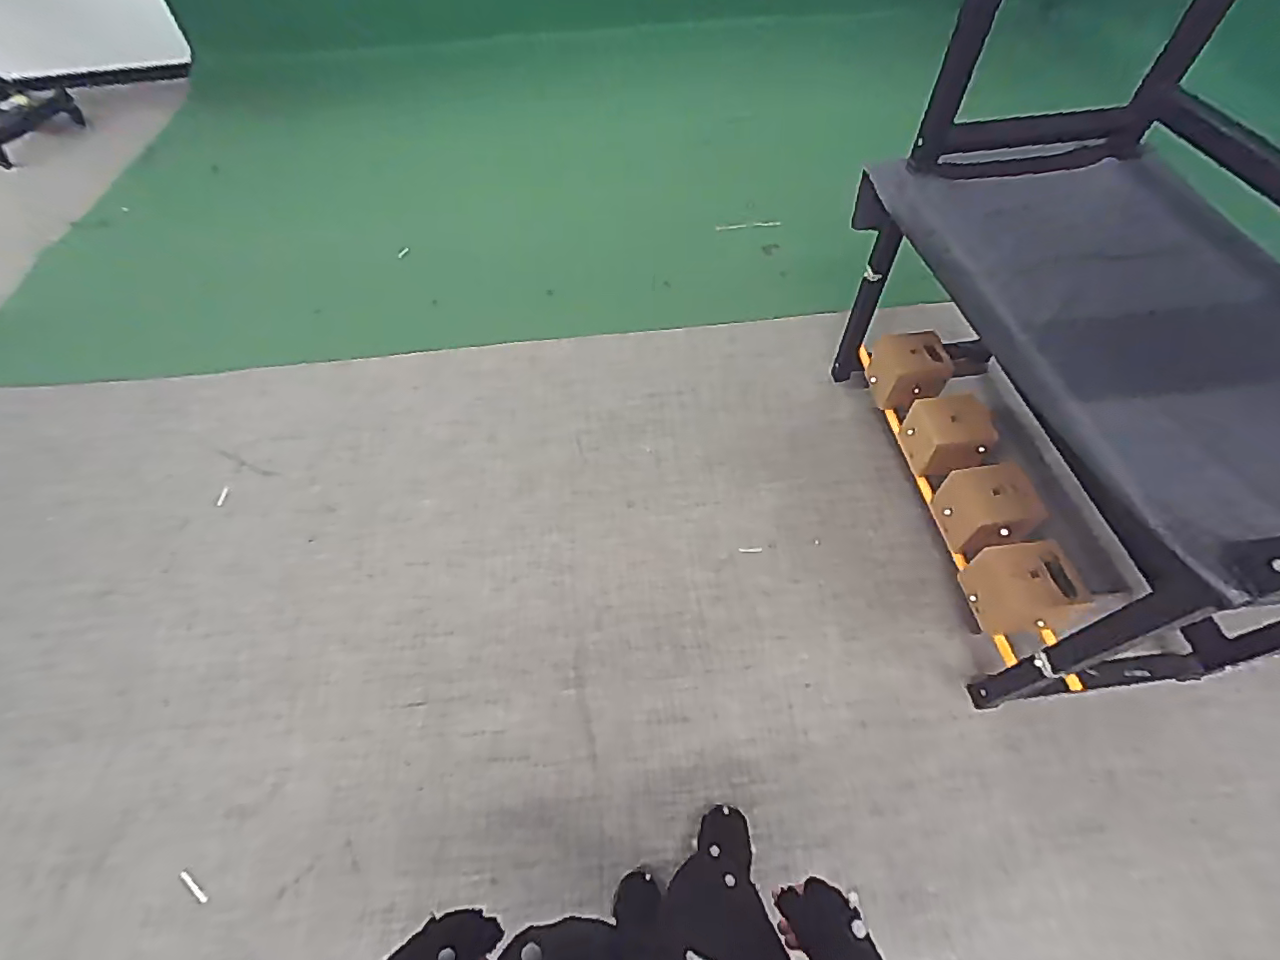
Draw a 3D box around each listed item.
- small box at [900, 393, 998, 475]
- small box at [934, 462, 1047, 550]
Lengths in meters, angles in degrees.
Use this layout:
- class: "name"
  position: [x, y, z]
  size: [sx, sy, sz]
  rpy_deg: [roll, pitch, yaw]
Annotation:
- class: "small box"
  position: [0.881, -0.128, 1.569]
  size: [0.179, 0.176, 0.168]
  rpy_deg: [-6, 57, 0]
- class: "small box"
  position: [0.911, 0.074, 1.432]
  size: [0.179, 0.176, 0.168]
  rpy_deg: [-7, 57, -1]
